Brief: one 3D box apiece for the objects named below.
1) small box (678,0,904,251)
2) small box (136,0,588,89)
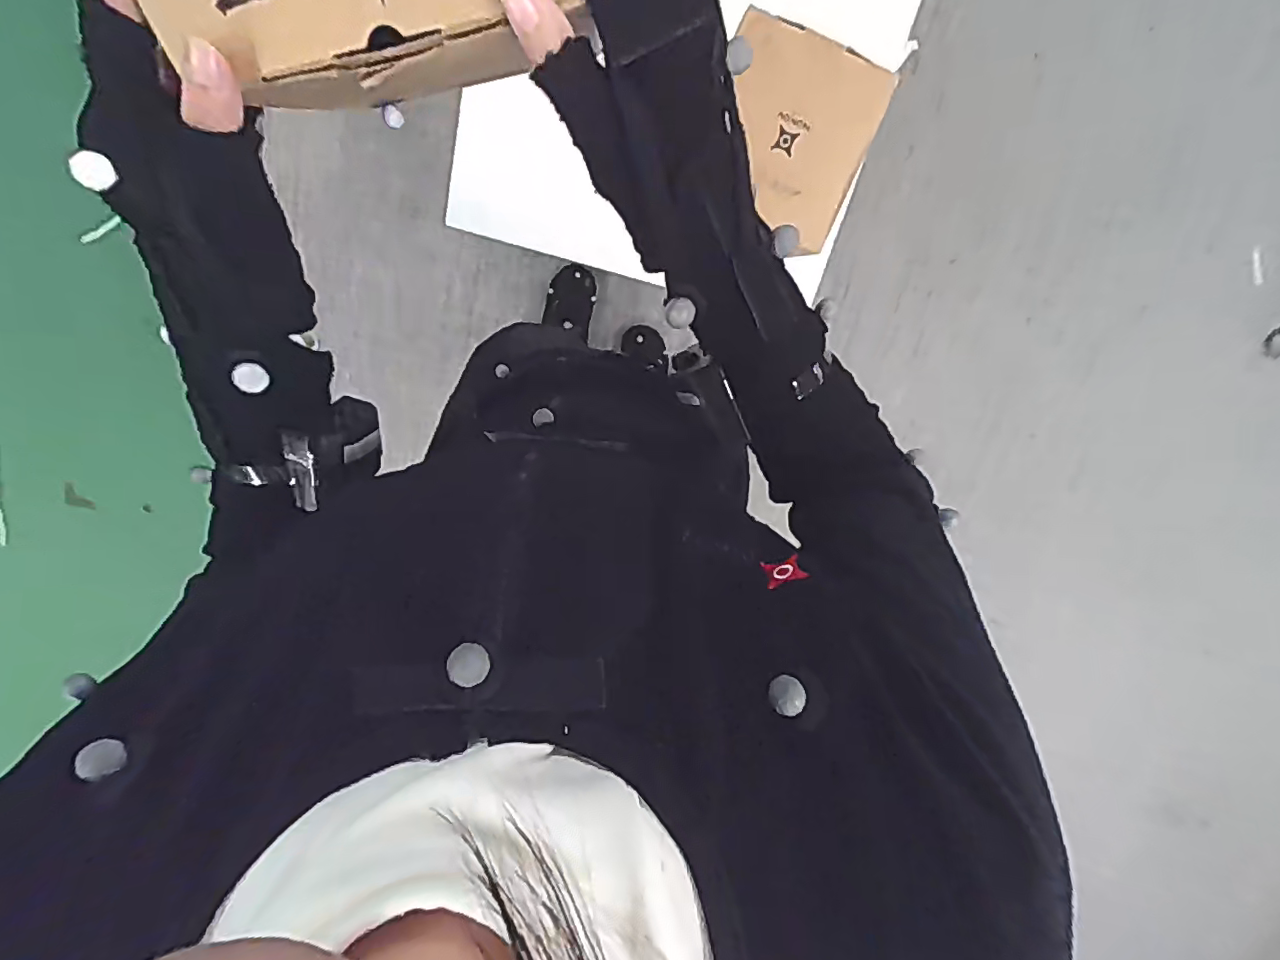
[{"bbox_3d":[0.147,-0.375,0.605,0.168,0.176,0.179,19,110,-6],"label":"small box"},{"bbox_3d":[-0.122,-0.287,0.230,0.168,0.176,0.179,-11,122,4],"label":"small box"}]
